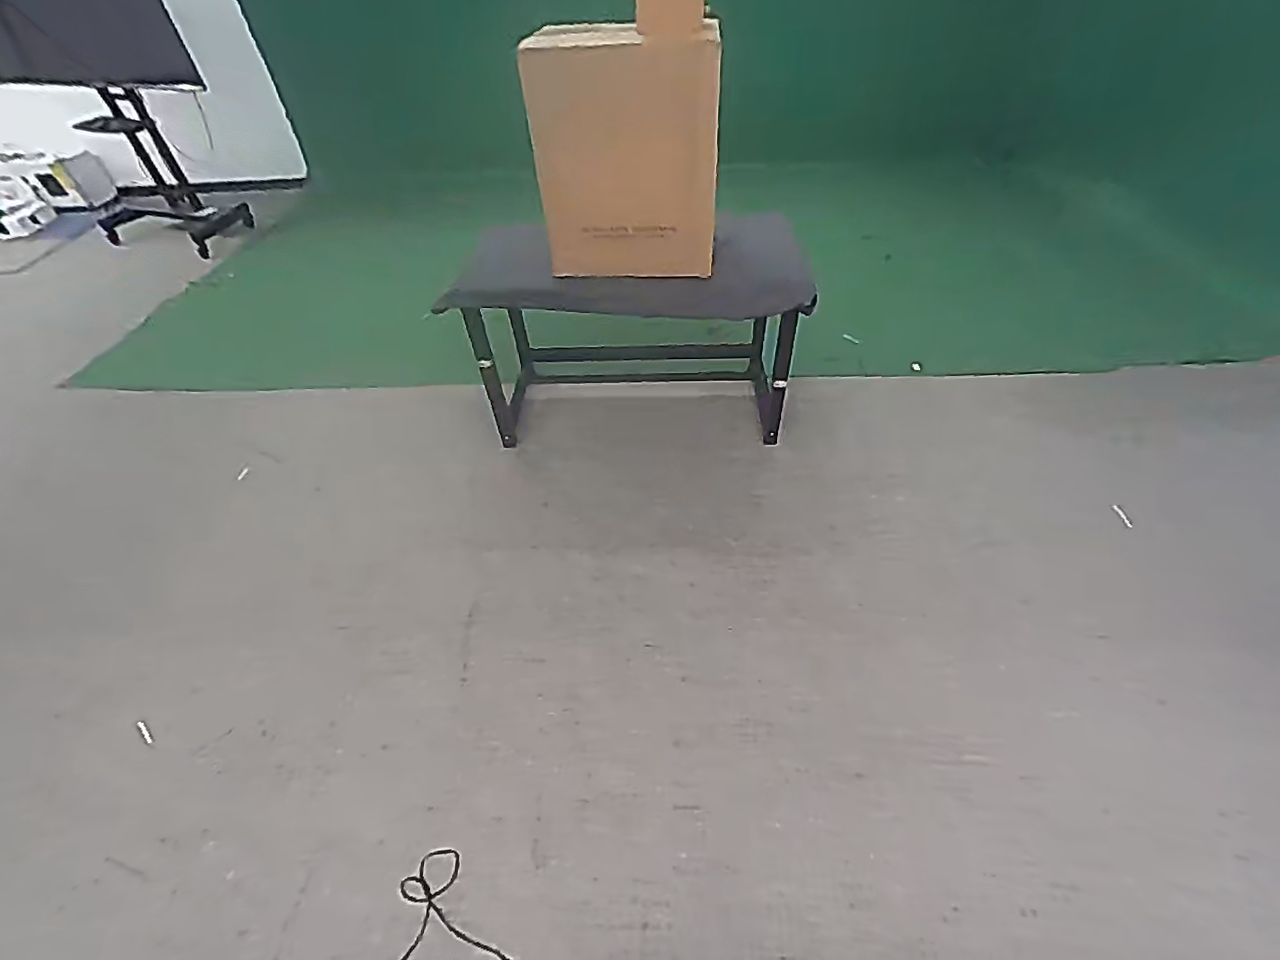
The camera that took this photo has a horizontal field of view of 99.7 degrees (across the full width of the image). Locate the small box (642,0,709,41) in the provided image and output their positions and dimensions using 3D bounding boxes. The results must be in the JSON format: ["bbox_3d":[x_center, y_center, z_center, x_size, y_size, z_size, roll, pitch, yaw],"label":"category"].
[{"bbox_3d":[0.096,-1.286,1.436,0.179,0.176,0.168,3,49,3],"label":"small box"}]
